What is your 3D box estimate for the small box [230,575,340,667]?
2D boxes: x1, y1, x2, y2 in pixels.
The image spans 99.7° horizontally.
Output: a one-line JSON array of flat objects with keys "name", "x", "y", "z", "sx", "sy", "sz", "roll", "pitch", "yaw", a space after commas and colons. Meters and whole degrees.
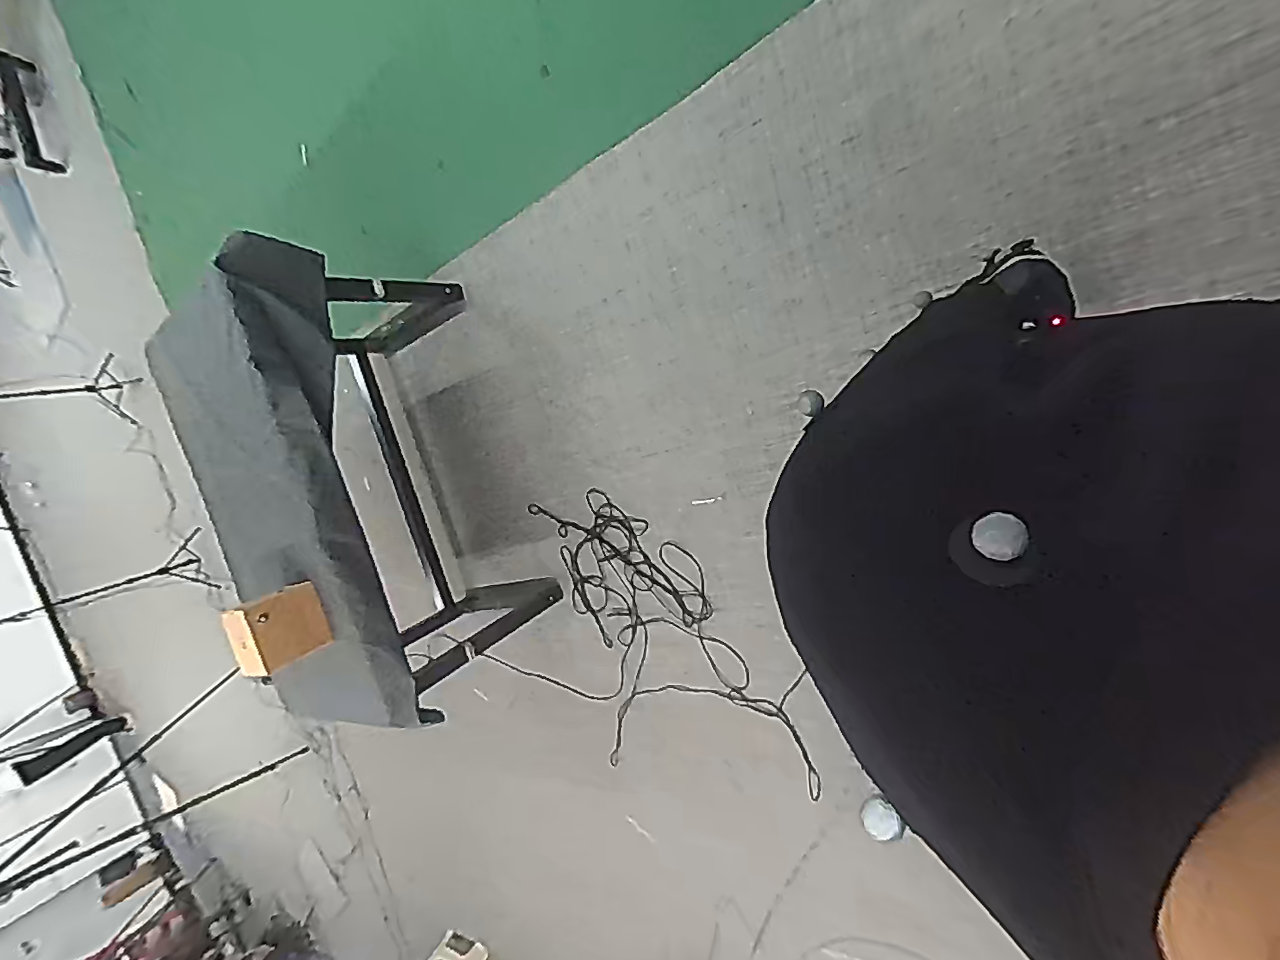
[{"name": "small box", "x": -0.922, "y": 0.366, "z": 1.413, "sx": 0.168, "sy": 0.176, "sz": 0.179, "roll": -15, "pitch": 96, "yaw": 36}]
